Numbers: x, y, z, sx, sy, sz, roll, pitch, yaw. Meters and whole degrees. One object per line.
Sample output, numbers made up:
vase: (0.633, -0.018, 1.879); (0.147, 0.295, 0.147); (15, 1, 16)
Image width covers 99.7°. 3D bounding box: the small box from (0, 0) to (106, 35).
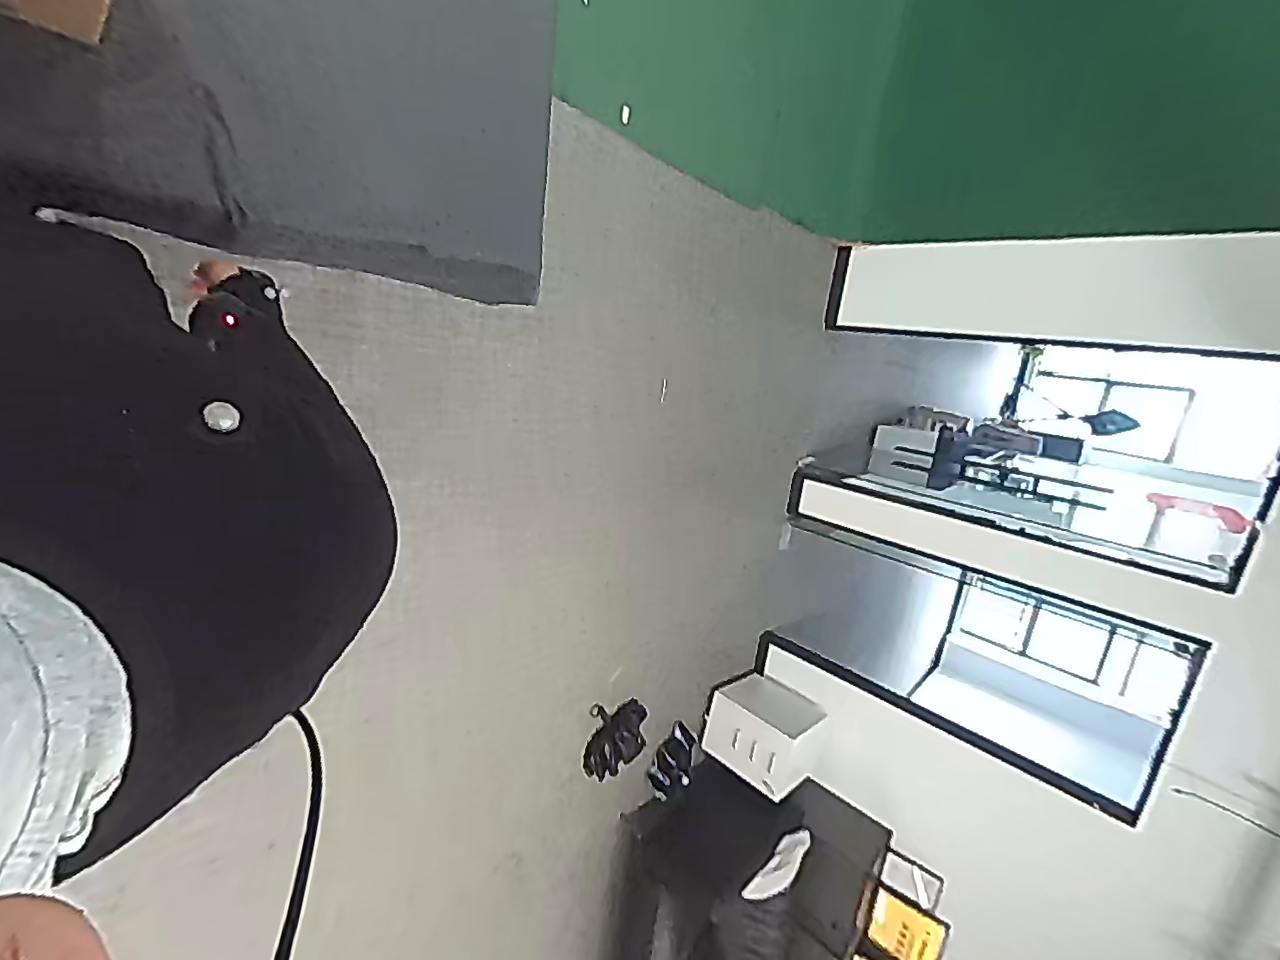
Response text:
small box: (-0.530, -0.493, 0.409); (0.168, 0.176, 0.179); (-6, 110, -47)
